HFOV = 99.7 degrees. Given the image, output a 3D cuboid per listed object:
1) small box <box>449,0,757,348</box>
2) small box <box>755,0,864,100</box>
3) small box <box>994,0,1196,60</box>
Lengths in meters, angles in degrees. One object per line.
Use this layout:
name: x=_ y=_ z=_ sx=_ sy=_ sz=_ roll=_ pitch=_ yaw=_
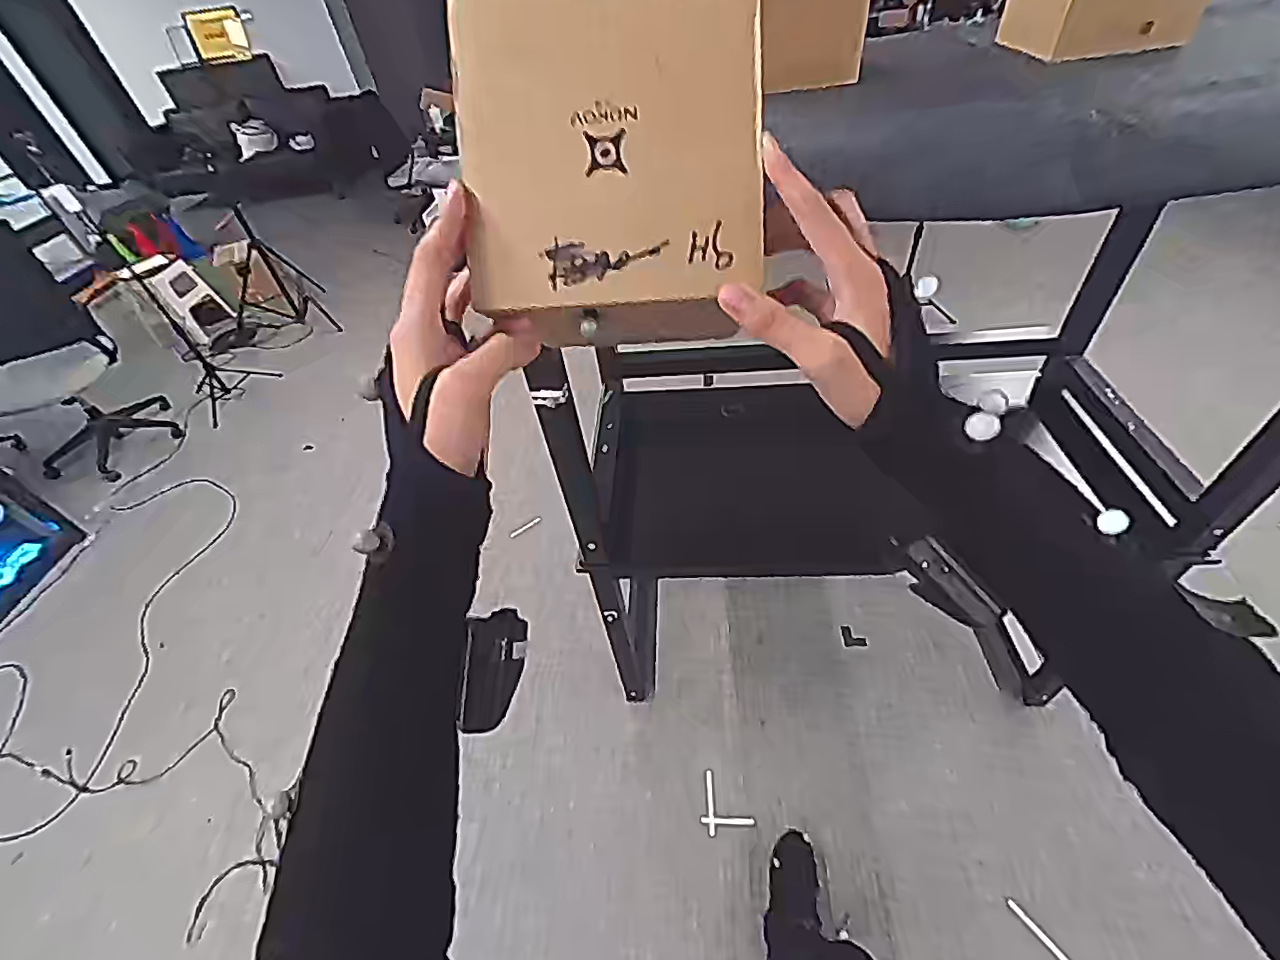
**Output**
small box: x=-0.014 y=-0.194 z=0.370 sx=0.168 sy=0.179 sz=0.176 roll=-1 pitch=6 yaw=5
small box: x=0.204 y=-0.648 z=0.746 sx=0.179 sy=0.176 sz=0.168 roll=-2 pitch=46 yaw=7
small box: x=0.602 y=-0.664 z=0.699 sx=0.168 sy=0.176 sz=0.179 roll=-3 pitch=46 yaw=5
